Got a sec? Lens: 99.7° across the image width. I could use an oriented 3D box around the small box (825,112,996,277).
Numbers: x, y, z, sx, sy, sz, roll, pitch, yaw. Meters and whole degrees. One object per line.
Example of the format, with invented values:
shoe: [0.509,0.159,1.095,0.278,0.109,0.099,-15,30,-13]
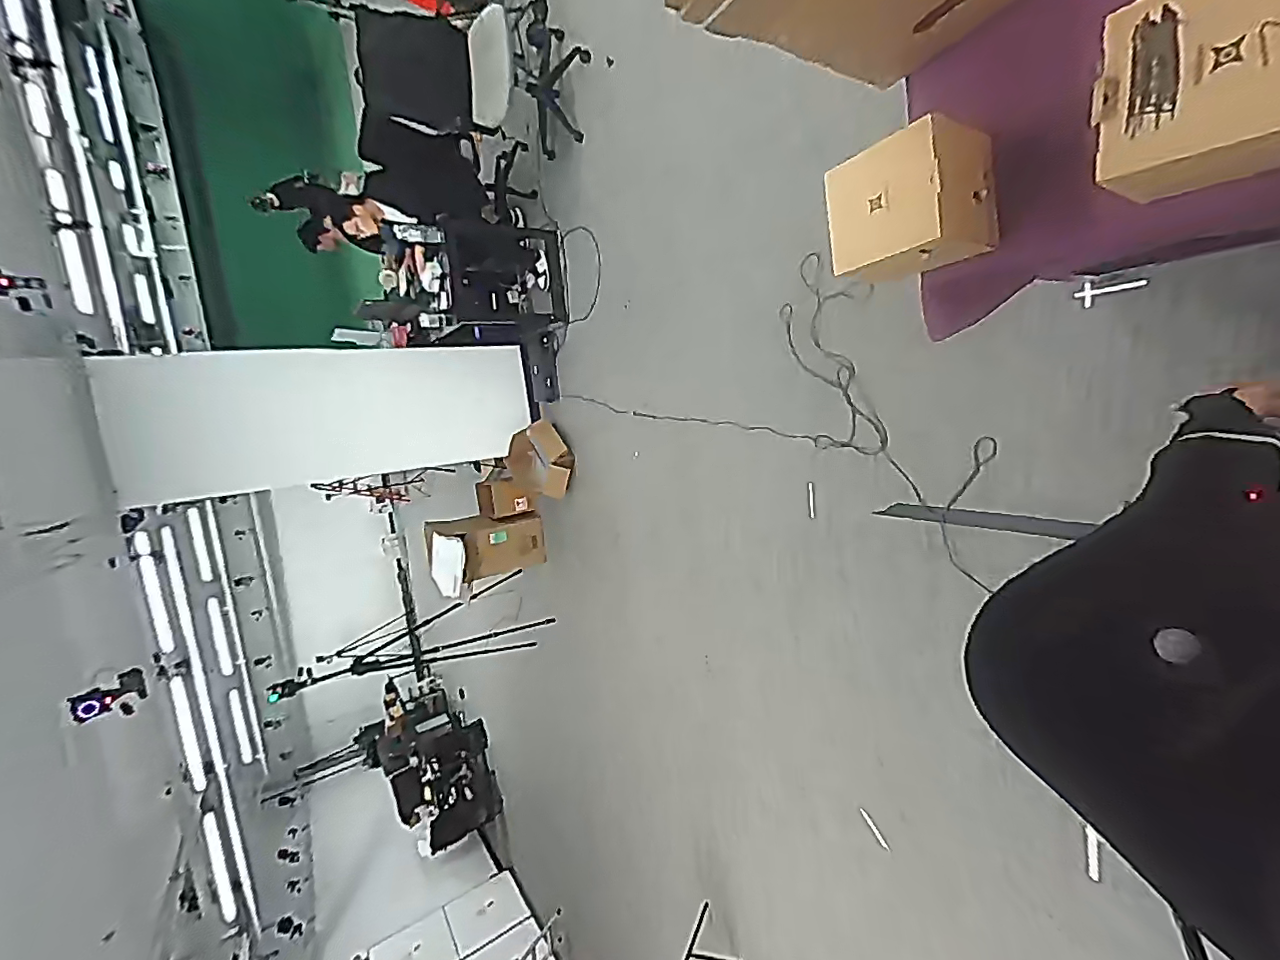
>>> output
small box: [0.418,-0.425,0.841,0.179,0.176,0.168,0,99,56]
